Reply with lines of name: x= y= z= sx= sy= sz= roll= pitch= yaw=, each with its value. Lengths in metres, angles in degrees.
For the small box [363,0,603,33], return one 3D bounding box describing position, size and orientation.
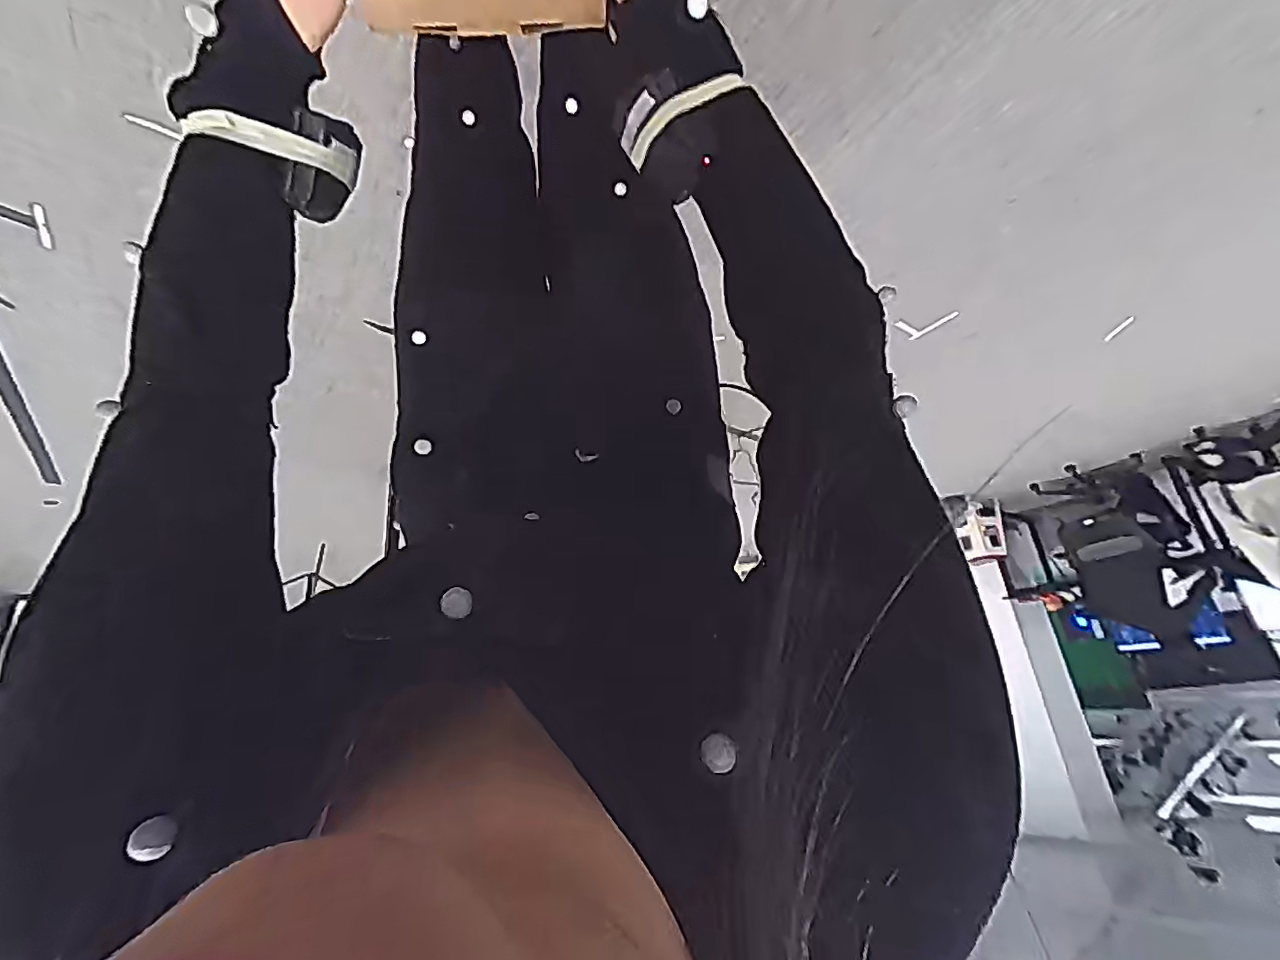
small box: x=-0.106 y=-0.429 z=0.358 sx=0.168 sy=0.176 sz=0.179 roll=-2 pitch=140 yaw=1
